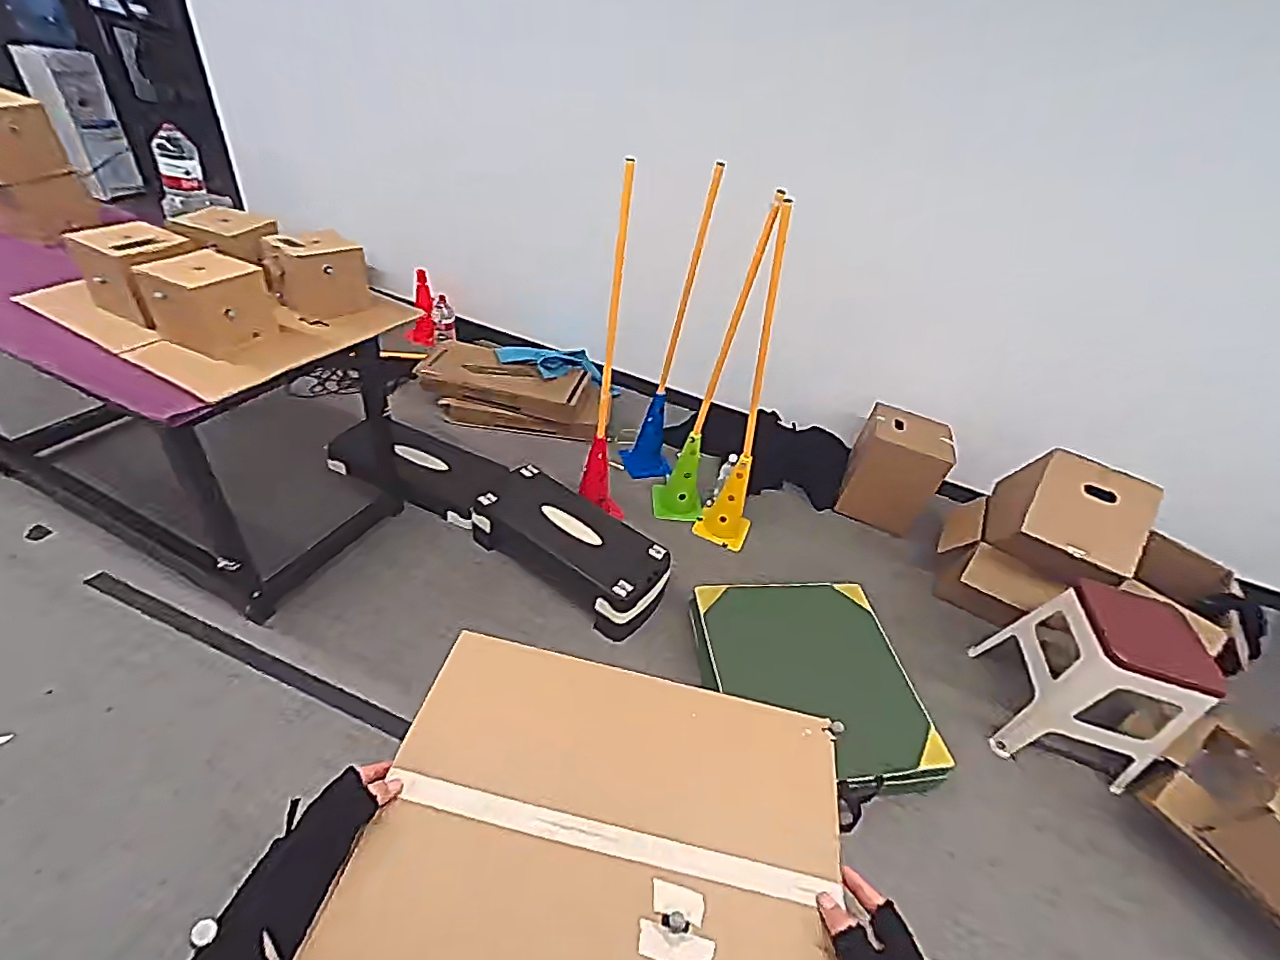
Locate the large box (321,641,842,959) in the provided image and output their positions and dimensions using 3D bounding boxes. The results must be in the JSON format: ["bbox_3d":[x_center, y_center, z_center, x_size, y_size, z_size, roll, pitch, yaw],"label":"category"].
[{"bbox_3d":[-0.042,0.426,0.577,0.408,0.320,0.320,13,42,3],"label":"large box"}]
